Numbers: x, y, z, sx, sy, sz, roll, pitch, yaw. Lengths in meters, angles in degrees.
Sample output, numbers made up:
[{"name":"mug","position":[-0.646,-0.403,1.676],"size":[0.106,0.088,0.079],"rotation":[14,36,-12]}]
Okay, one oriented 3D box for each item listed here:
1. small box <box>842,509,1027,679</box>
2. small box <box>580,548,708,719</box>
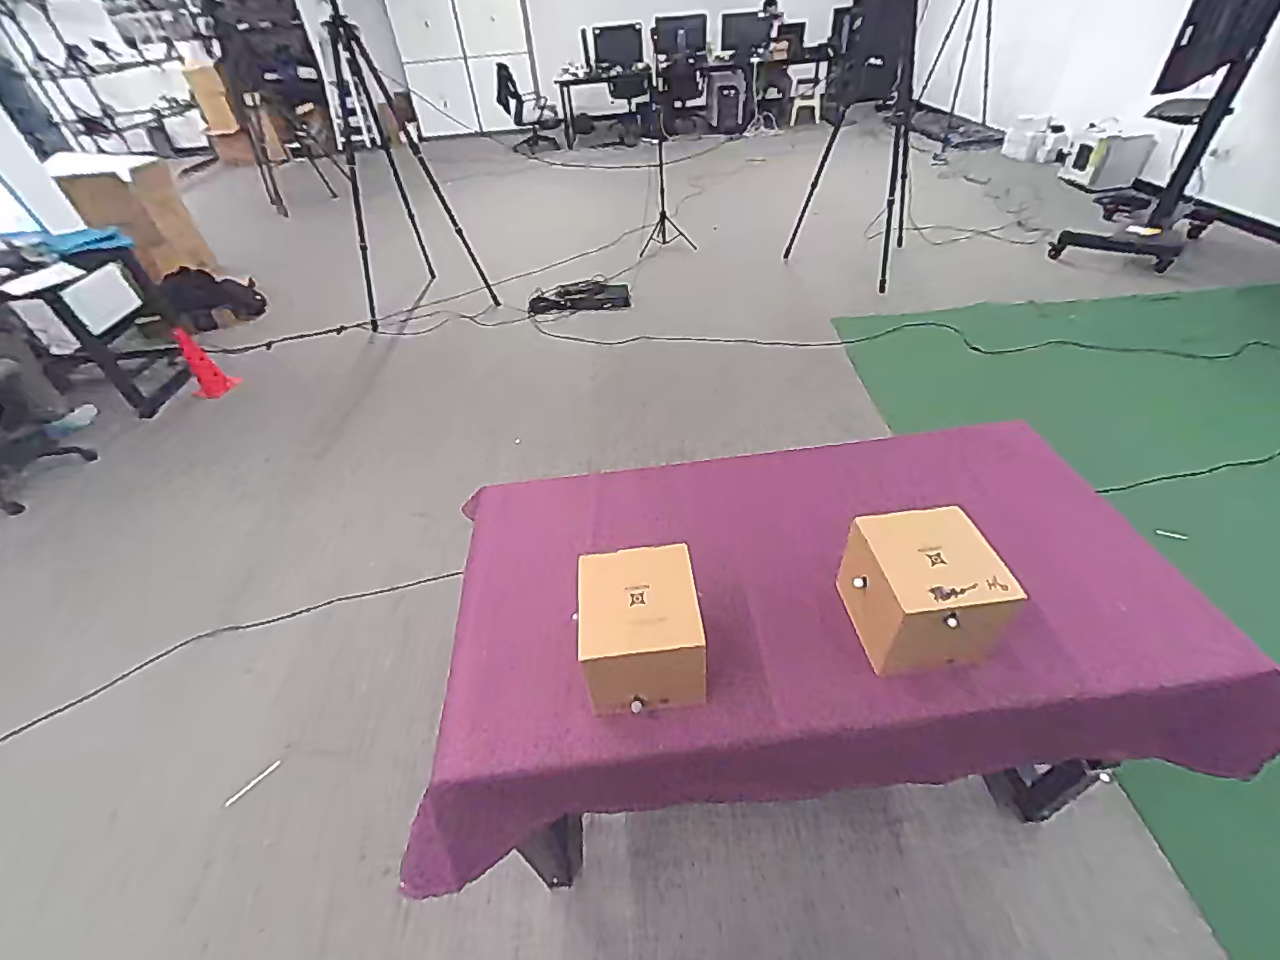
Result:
[{"name":"small box","position":[0.421,0.170,0.813],"size":[0.168,0.176,0.179],"rotation":[-8,41,0]},{"name":"small box","position":[0.005,0.227,0.803],"size":[0.168,0.176,0.179],"rotation":[-7,43,0]}]
